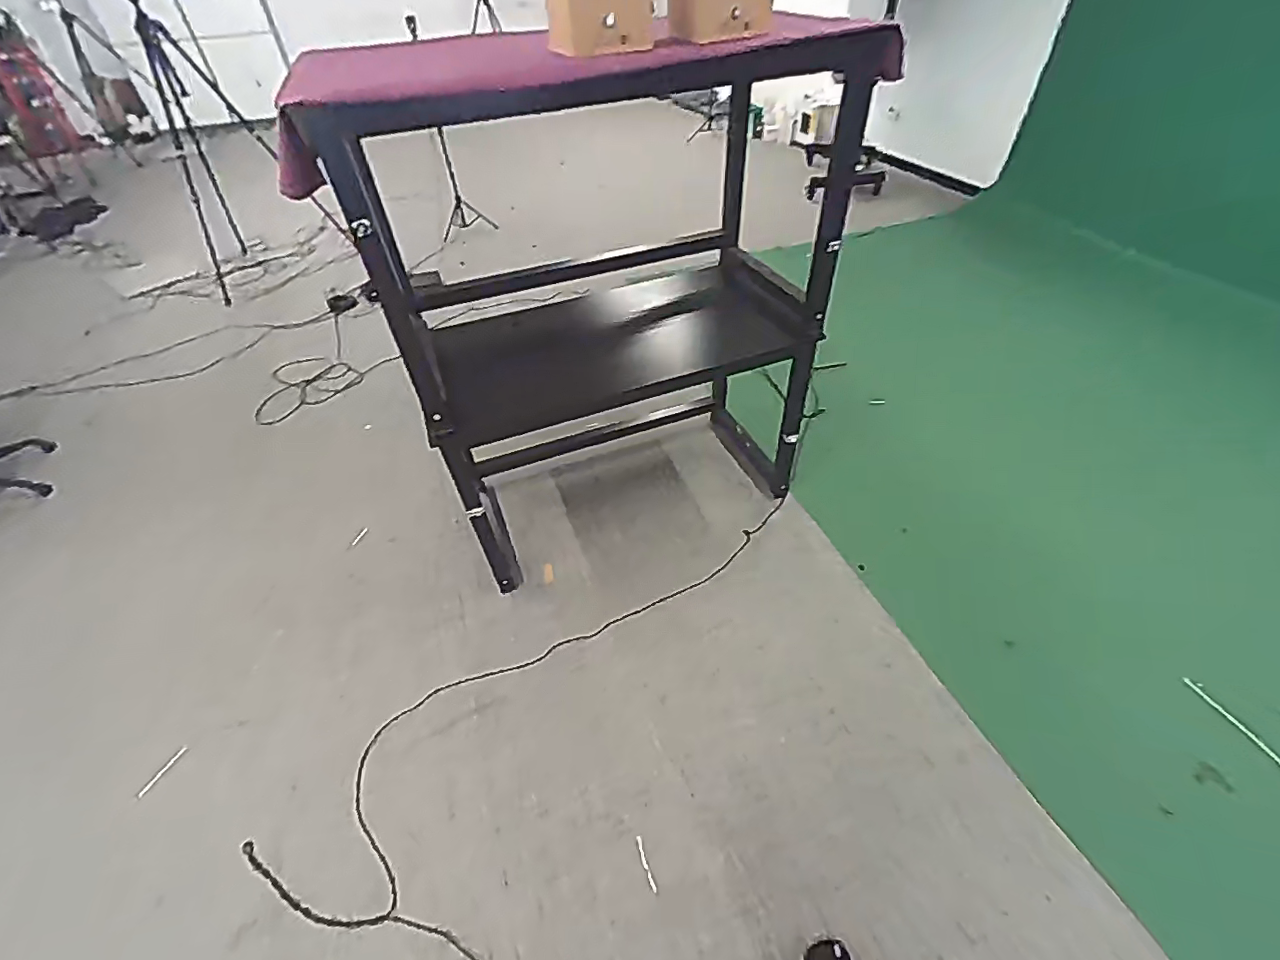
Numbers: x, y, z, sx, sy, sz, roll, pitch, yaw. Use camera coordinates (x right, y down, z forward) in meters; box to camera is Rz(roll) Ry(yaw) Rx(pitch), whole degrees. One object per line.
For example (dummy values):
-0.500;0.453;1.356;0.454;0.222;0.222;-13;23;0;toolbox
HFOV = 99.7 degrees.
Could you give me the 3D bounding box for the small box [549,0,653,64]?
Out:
-0.081;-0.927;1.053;0.168;0.176;0.179;-17;46;-13;small box
